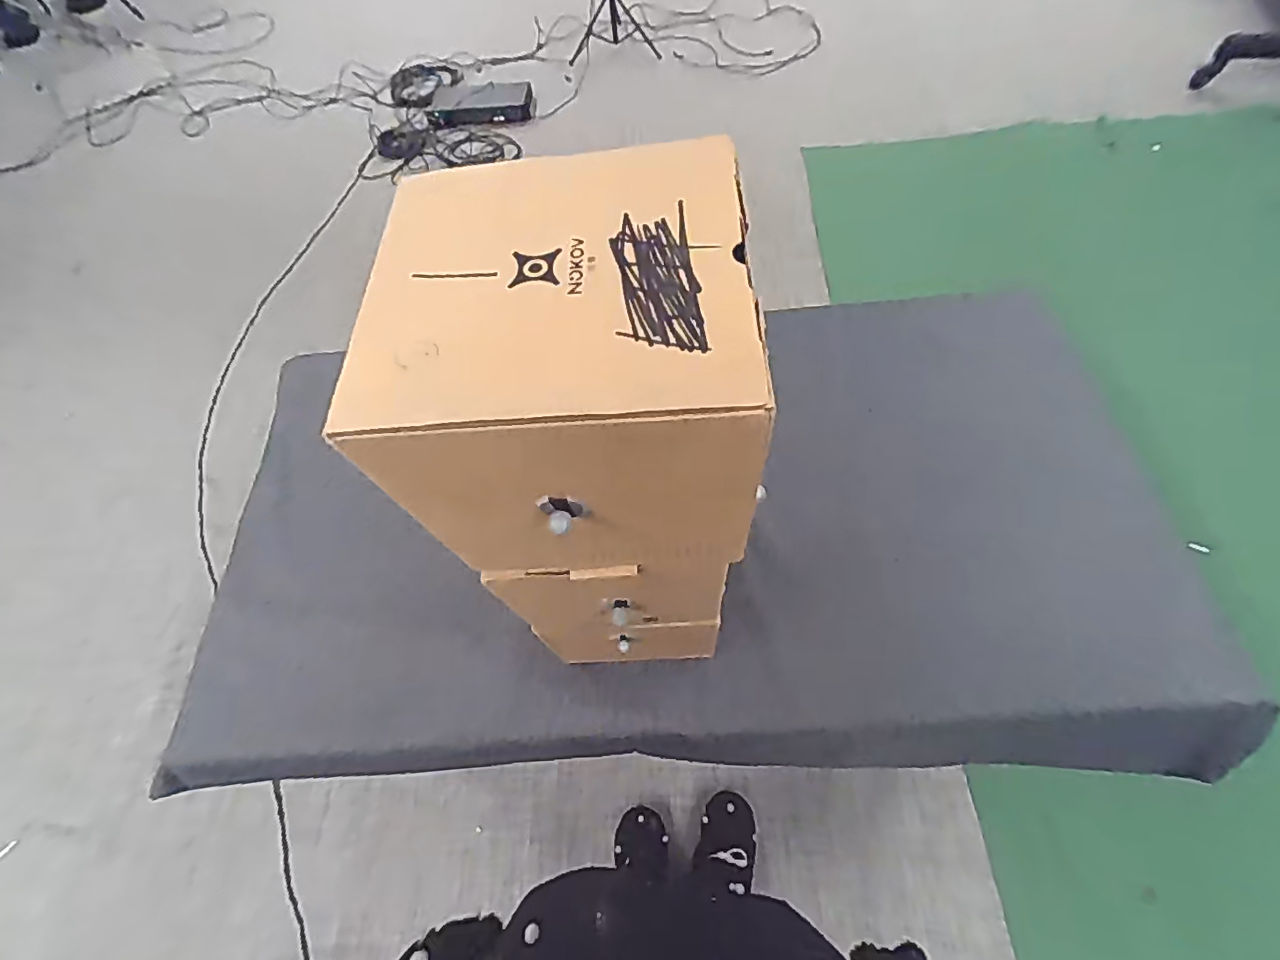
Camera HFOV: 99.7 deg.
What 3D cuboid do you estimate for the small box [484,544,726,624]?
[{"bbox_3d":[-0.020,0.019,0.460,0.168,0.176,0.179,-6,63,3],"label":"small box"}]

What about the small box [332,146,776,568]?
[{"bbox_3d":[-0.029,-0.054,0.312,0.179,0.176,0.168,-3,62,5],"label":"small box"}]

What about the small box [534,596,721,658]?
[{"bbox_3d":[-0.008,0.099,0.602,0.179,0.176,0.168,-3,63,2],"label":"small box"}]
